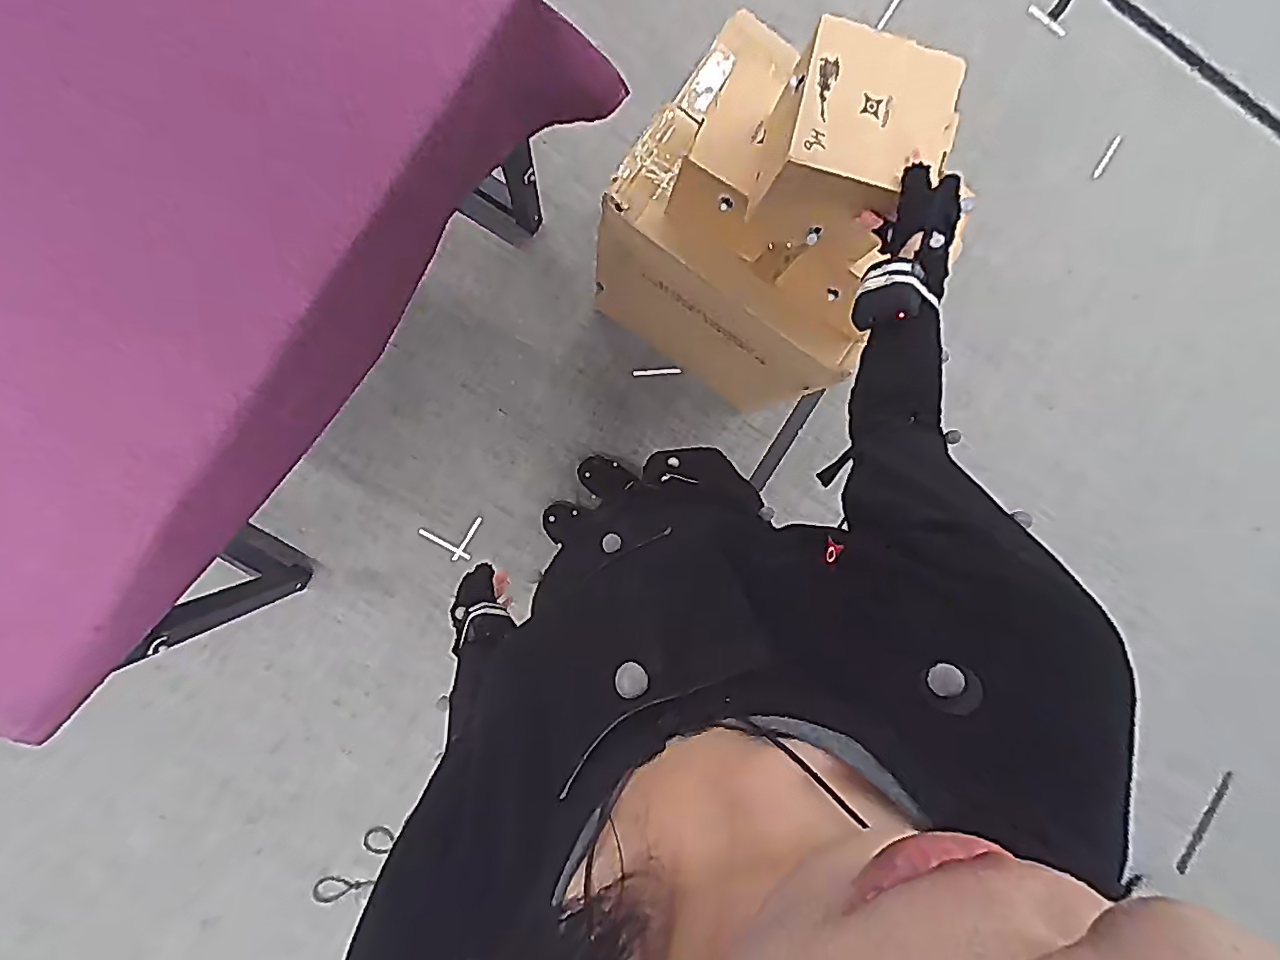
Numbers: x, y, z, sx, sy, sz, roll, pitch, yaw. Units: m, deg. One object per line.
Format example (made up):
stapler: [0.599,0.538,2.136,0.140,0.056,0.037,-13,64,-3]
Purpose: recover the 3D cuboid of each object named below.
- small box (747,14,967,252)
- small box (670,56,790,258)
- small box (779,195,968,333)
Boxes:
small box: [0.254,-0.407,0.672,0.179,0.176,0.168,14,89,-6]
small box: [0.164,-0.473,0.826,0.179,0.176,0.168,29,88,-7]
small box: [0.350,-0.351,0.845,0.179,0.176,0.168,34,88,-3]
